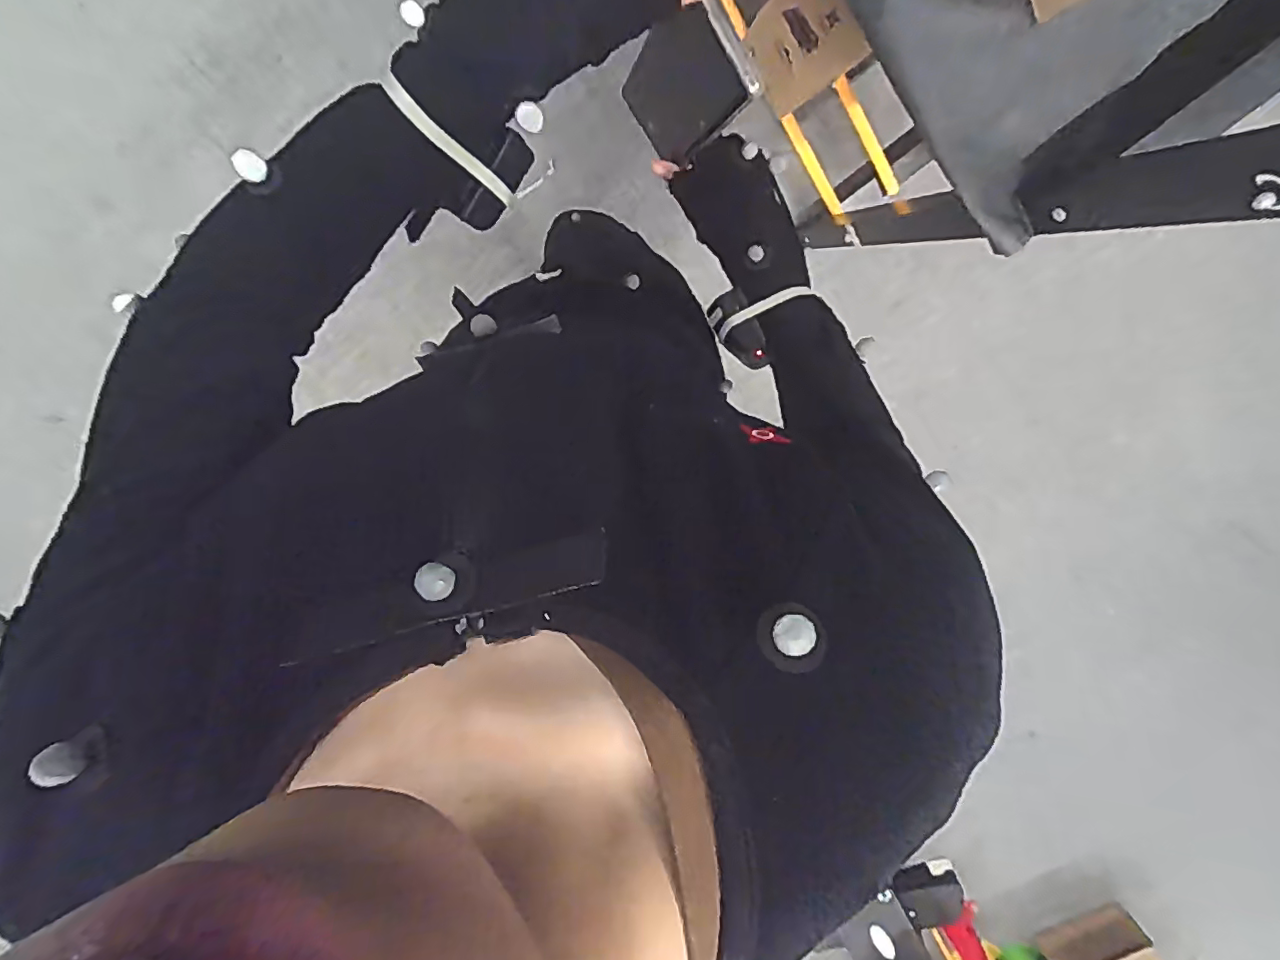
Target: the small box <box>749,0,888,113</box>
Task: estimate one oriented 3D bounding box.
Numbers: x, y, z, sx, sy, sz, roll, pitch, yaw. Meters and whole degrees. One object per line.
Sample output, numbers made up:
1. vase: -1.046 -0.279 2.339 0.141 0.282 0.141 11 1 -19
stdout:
1. small box: 0.323 -0.838 1.021 0.179 0.176 0.168 -33 111 9
